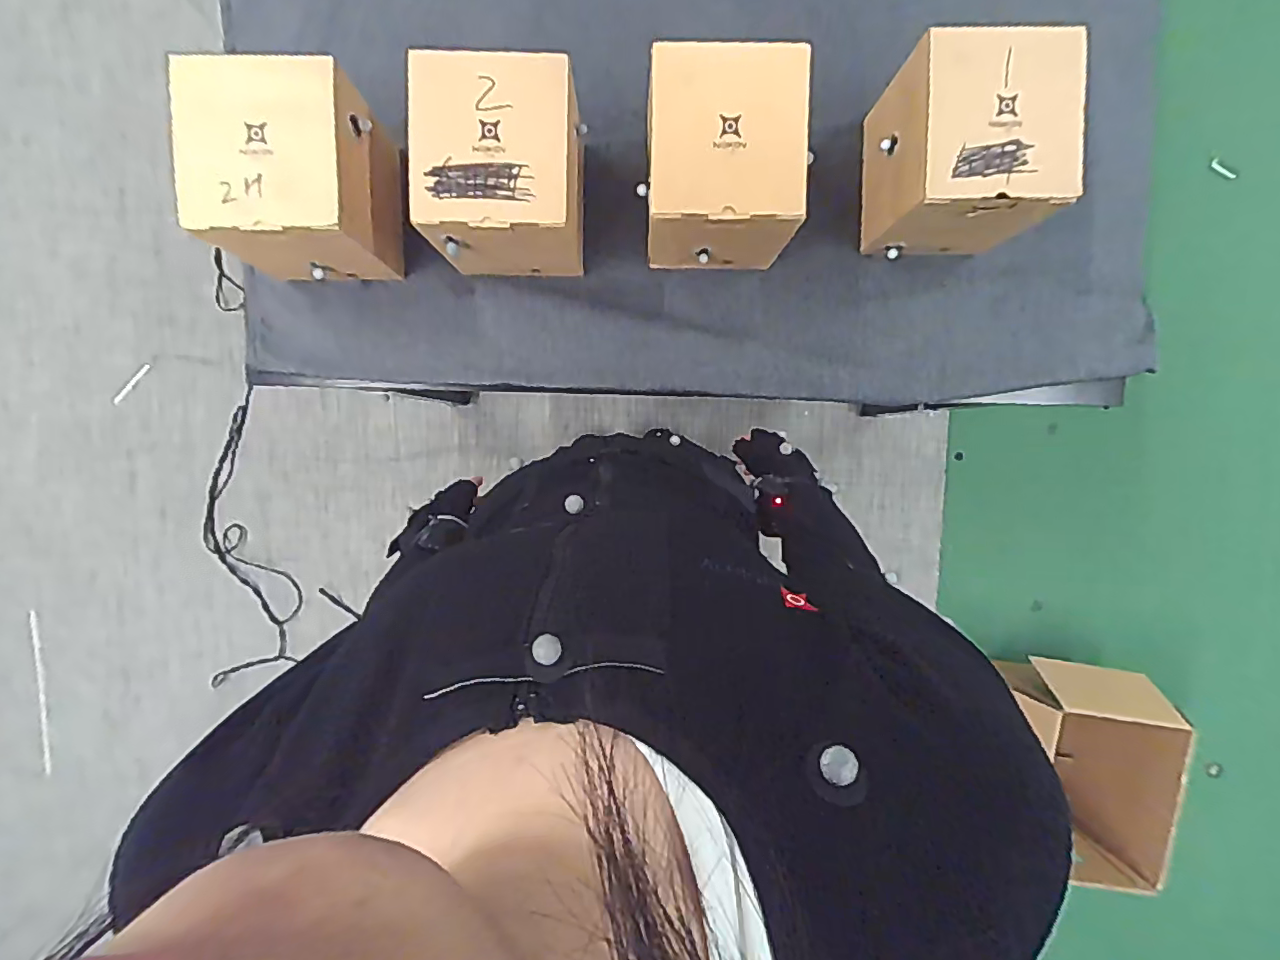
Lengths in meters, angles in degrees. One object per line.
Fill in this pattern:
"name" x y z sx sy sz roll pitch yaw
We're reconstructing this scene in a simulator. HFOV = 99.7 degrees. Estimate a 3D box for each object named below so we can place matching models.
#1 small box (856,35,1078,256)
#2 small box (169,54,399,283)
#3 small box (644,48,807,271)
"small box" 0.373 -0.381 0.648 0.168 0.176 0.179 0 94 -1
"small box" -0.397 -0.347 0.632 0.168 0.176 0.179 -1 93 -2
"small box" 0.090 -0.366 0.646 0.168 0.176 0.179 0 95 -1
